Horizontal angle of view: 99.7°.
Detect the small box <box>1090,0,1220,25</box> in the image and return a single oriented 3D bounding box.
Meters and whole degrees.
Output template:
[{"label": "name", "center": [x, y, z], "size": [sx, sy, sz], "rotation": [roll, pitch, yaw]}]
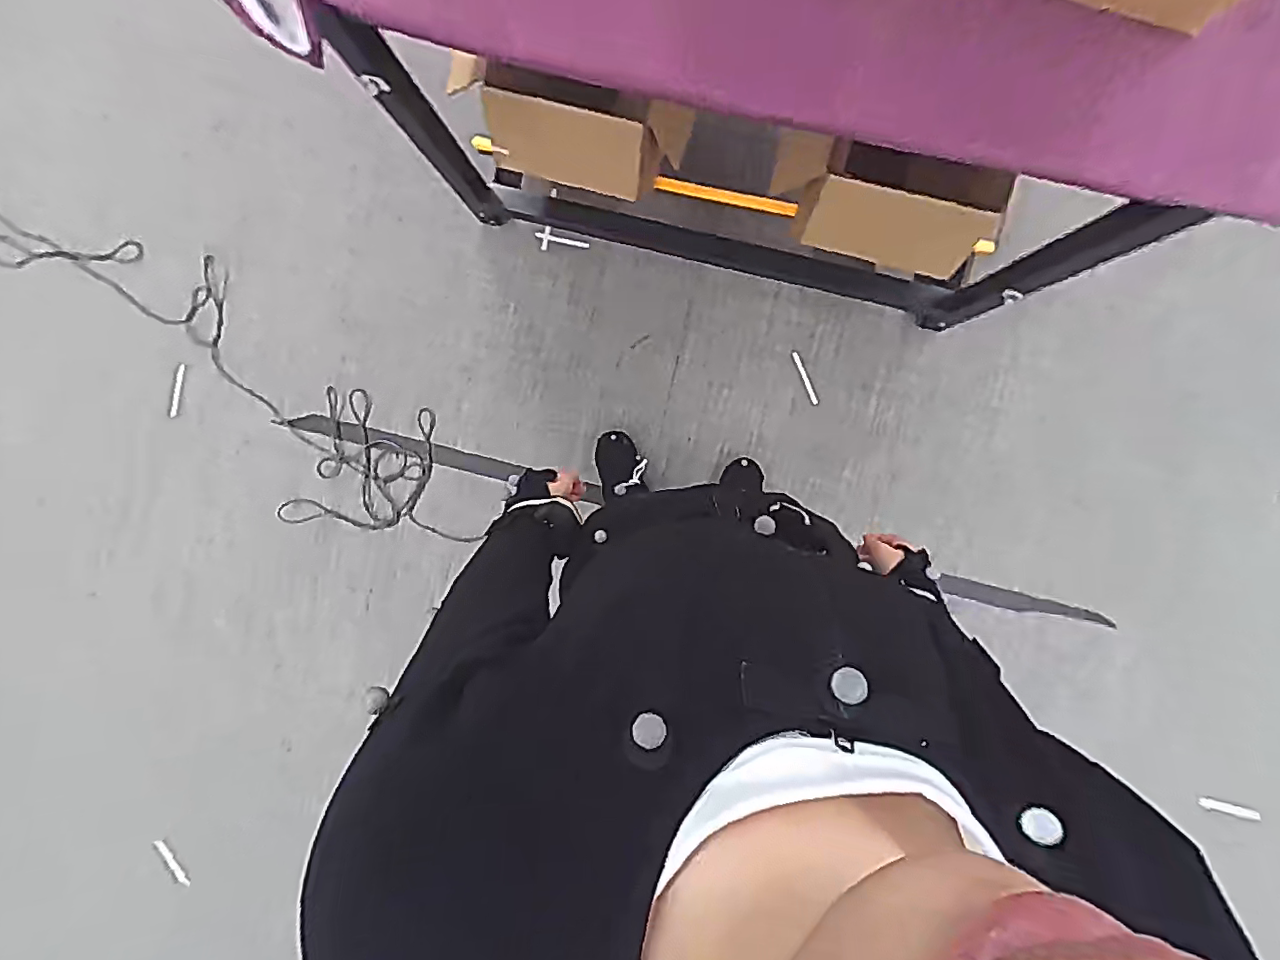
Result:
[{"label": "small box", "center": [0.546, -0.589, 0.511], "size": [0.179, 0.176, 0.168], "rotation": [18, 93, 2]}]
